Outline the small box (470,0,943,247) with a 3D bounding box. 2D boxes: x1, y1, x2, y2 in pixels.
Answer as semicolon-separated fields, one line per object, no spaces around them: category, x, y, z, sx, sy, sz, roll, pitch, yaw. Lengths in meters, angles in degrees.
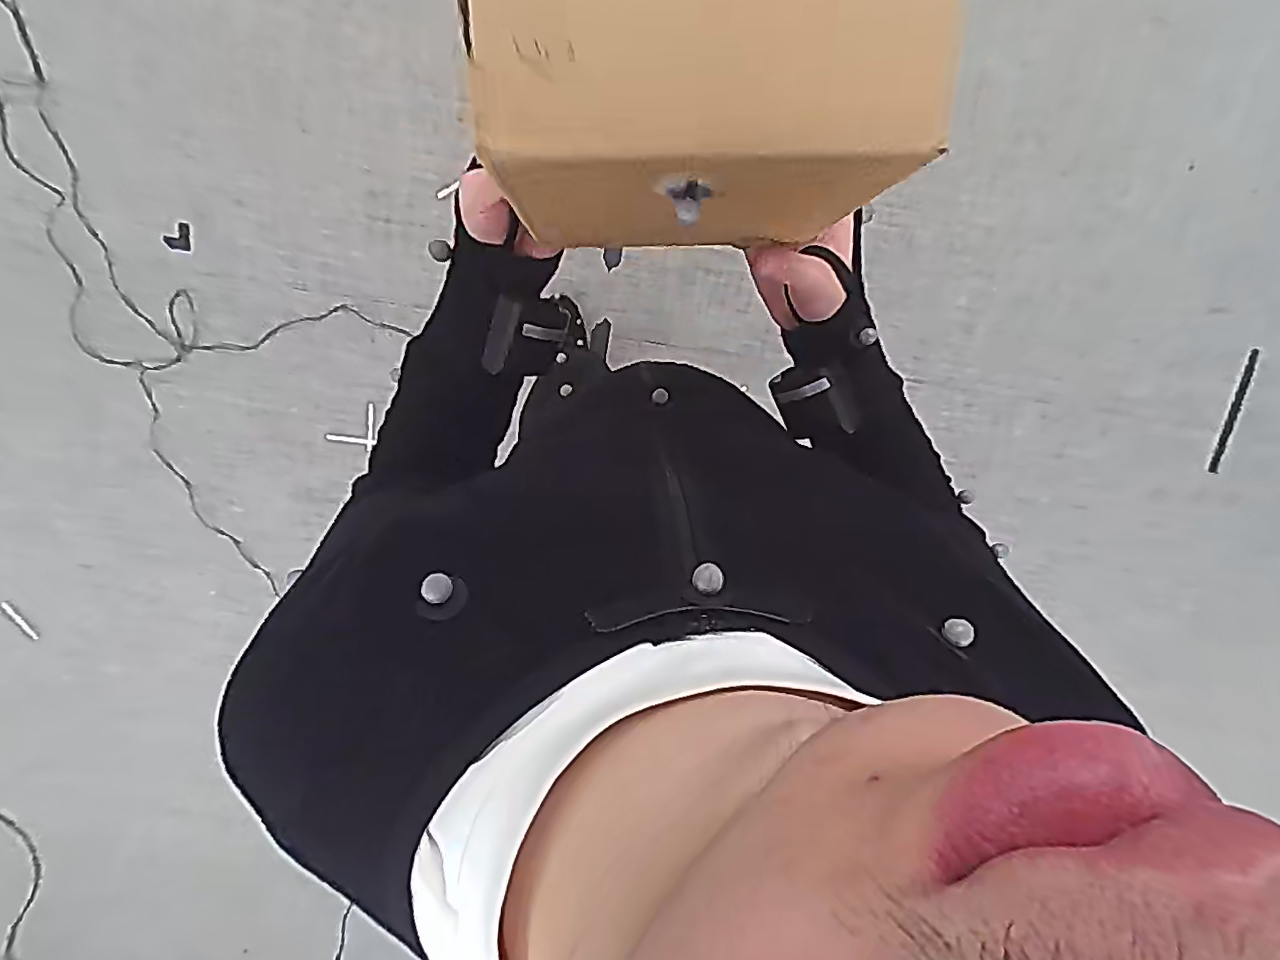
small box;0.022;-0.219;0.269;0.179;0.176;0.168;-3;104;-2
